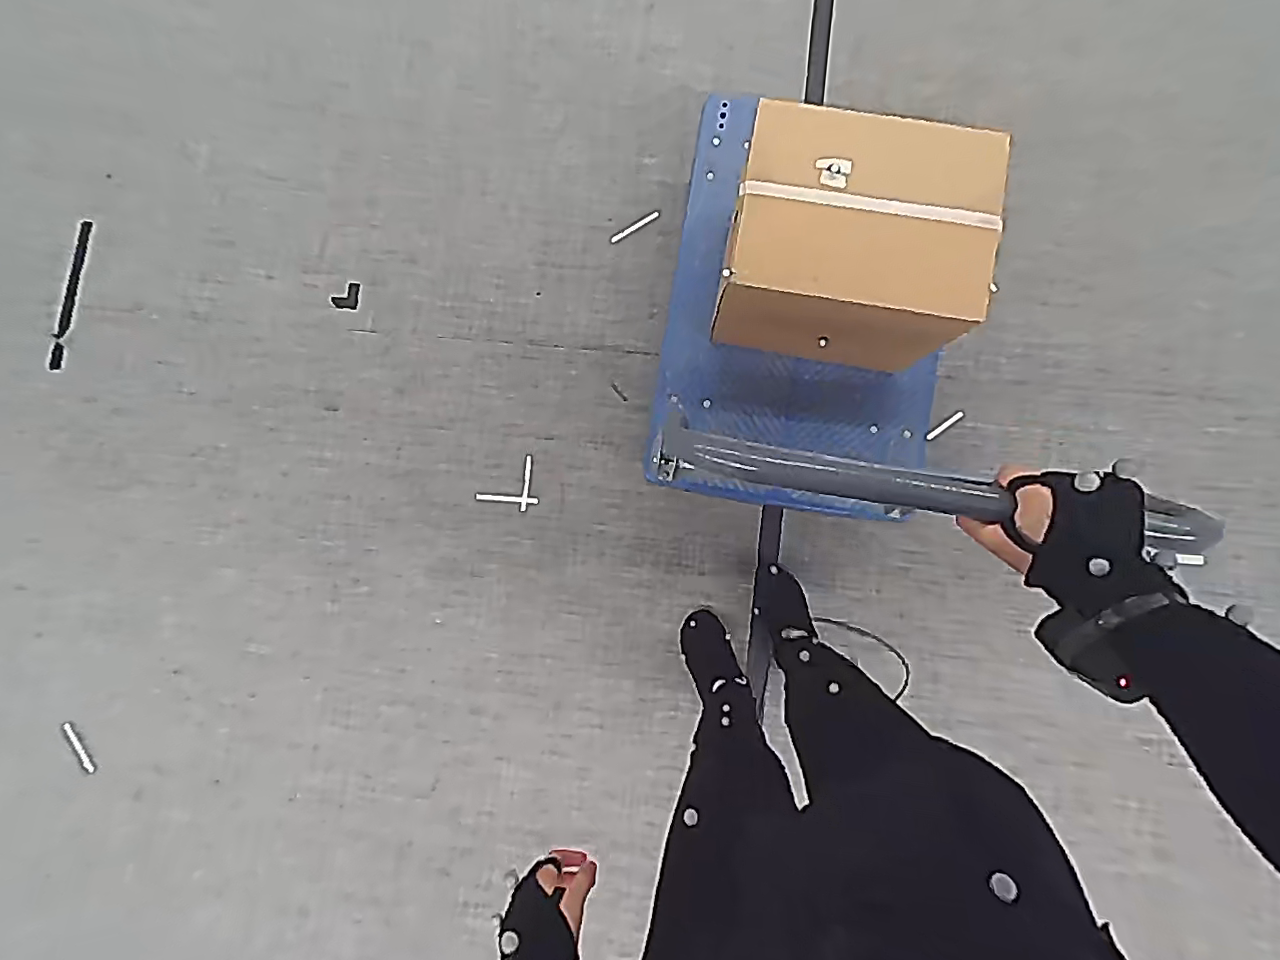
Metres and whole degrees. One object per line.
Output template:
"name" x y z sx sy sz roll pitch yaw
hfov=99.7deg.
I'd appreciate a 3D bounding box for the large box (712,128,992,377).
"large box" 0.368 -0.404 1.035 0.408 0.320 0.320 9 86 4
